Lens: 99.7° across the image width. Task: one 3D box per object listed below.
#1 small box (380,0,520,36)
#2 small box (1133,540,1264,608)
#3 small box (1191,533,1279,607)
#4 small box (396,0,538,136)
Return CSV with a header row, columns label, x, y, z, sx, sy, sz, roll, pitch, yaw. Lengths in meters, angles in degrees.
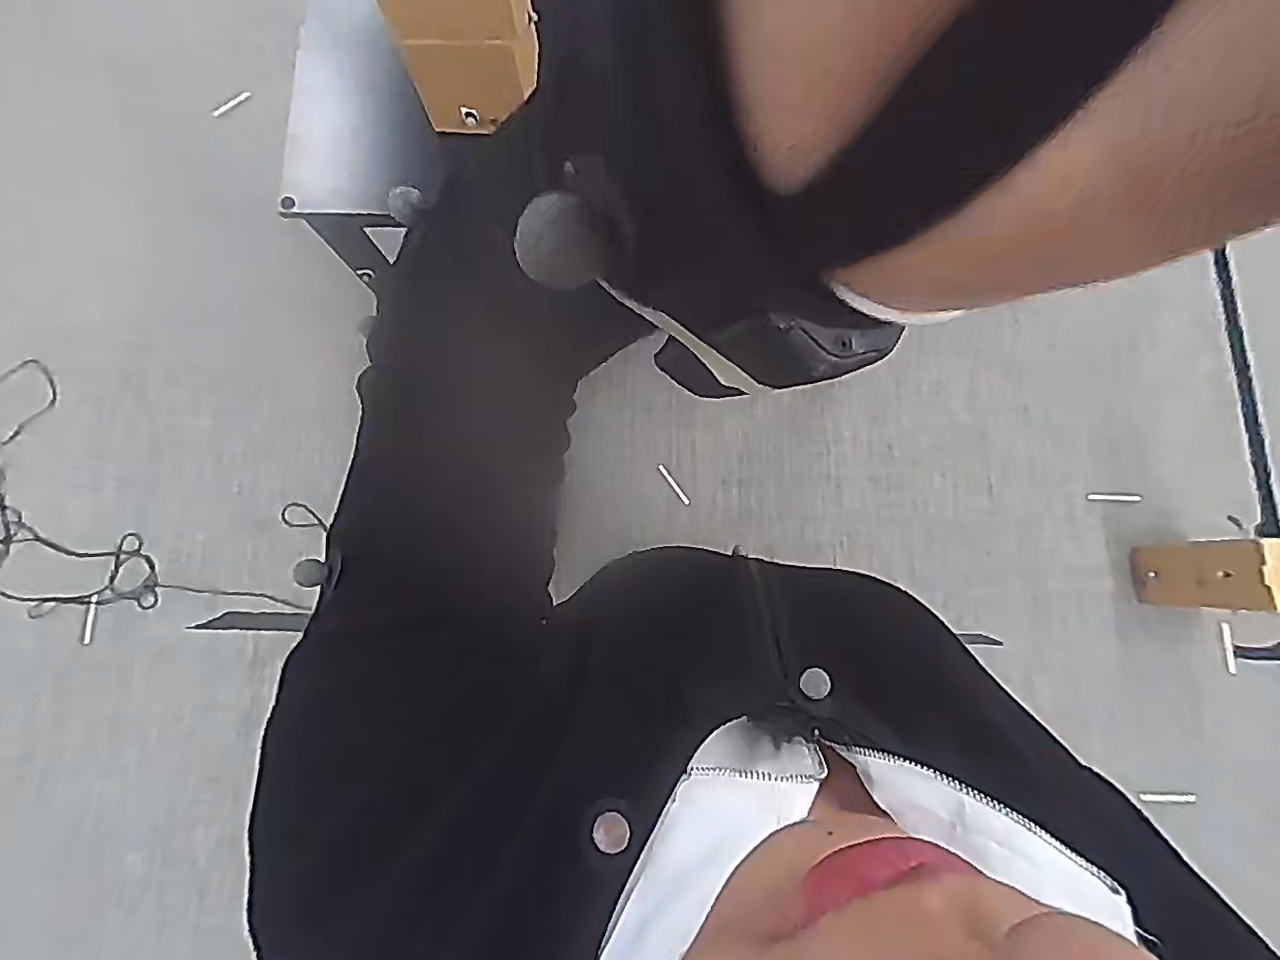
label,x,y,z,sx,sy,sz,roll,pitch,yaw
small box,-0.254,-0.702,0.677,0.179,0.176,0.168,-1,80,-1
small box,1.481,0.248,1.443,0.179,0.176,0.168,2,80,0
small box,1.472,0.215,1.283,0.179,0.176,0.168,0,81,0
small box,-0.256,-0.676,0.840,0.168,0.176,0.179,0,81,0
